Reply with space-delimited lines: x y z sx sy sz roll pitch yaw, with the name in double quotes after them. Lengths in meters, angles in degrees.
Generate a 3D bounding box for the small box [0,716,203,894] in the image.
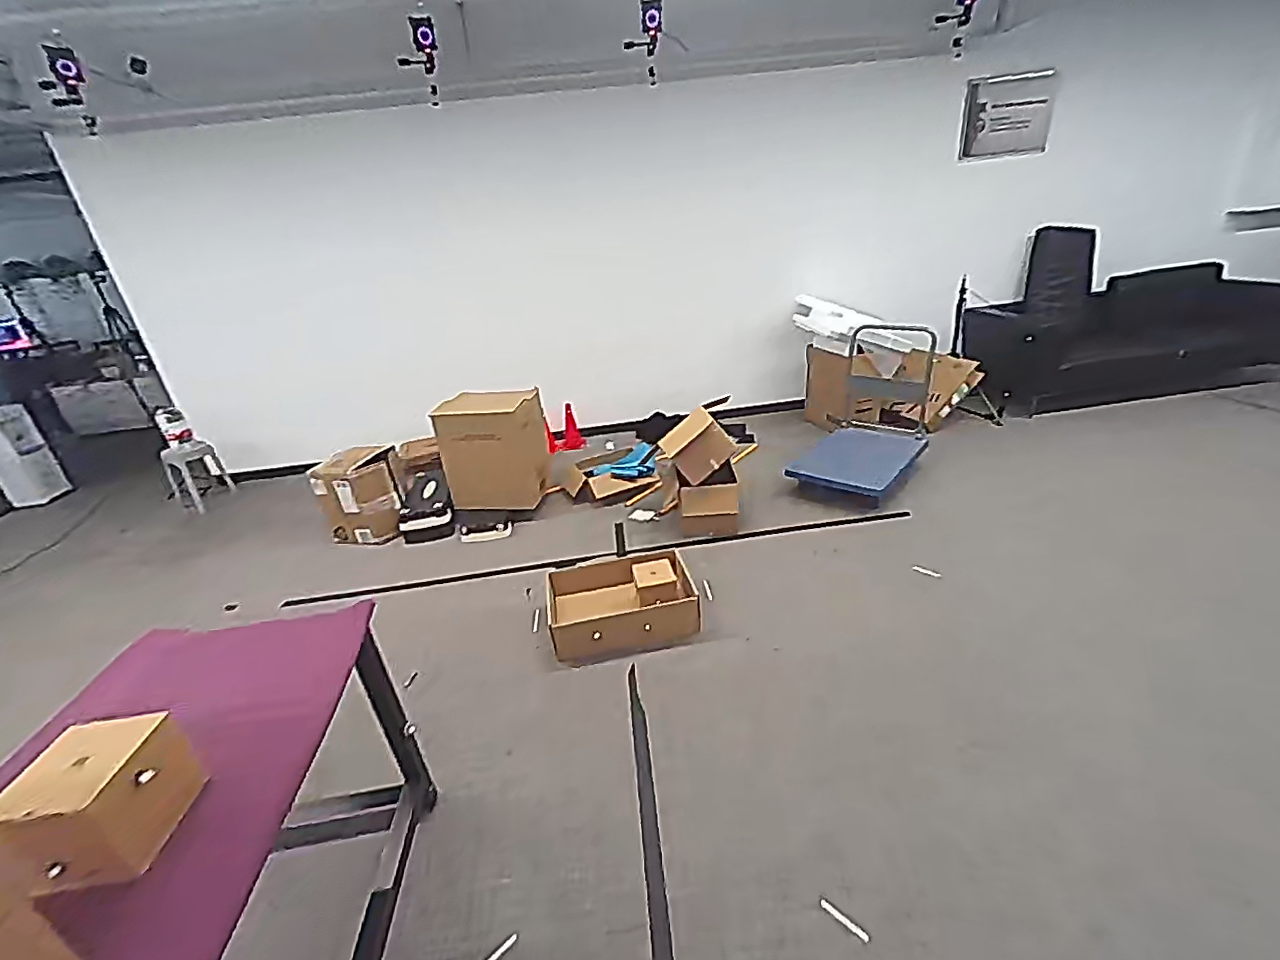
-0.863 0.522 0.879 0.168 0.176 0.179 -8 25 -2 "small box"

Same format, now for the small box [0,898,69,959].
-0.825 0.635 0.620 0.168 0.176 0.179 -8 24 -3 "small box"

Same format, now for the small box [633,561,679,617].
0.070 0.481 2.362 0.168 0.176 0.179 -9 24 -6 "small box"
